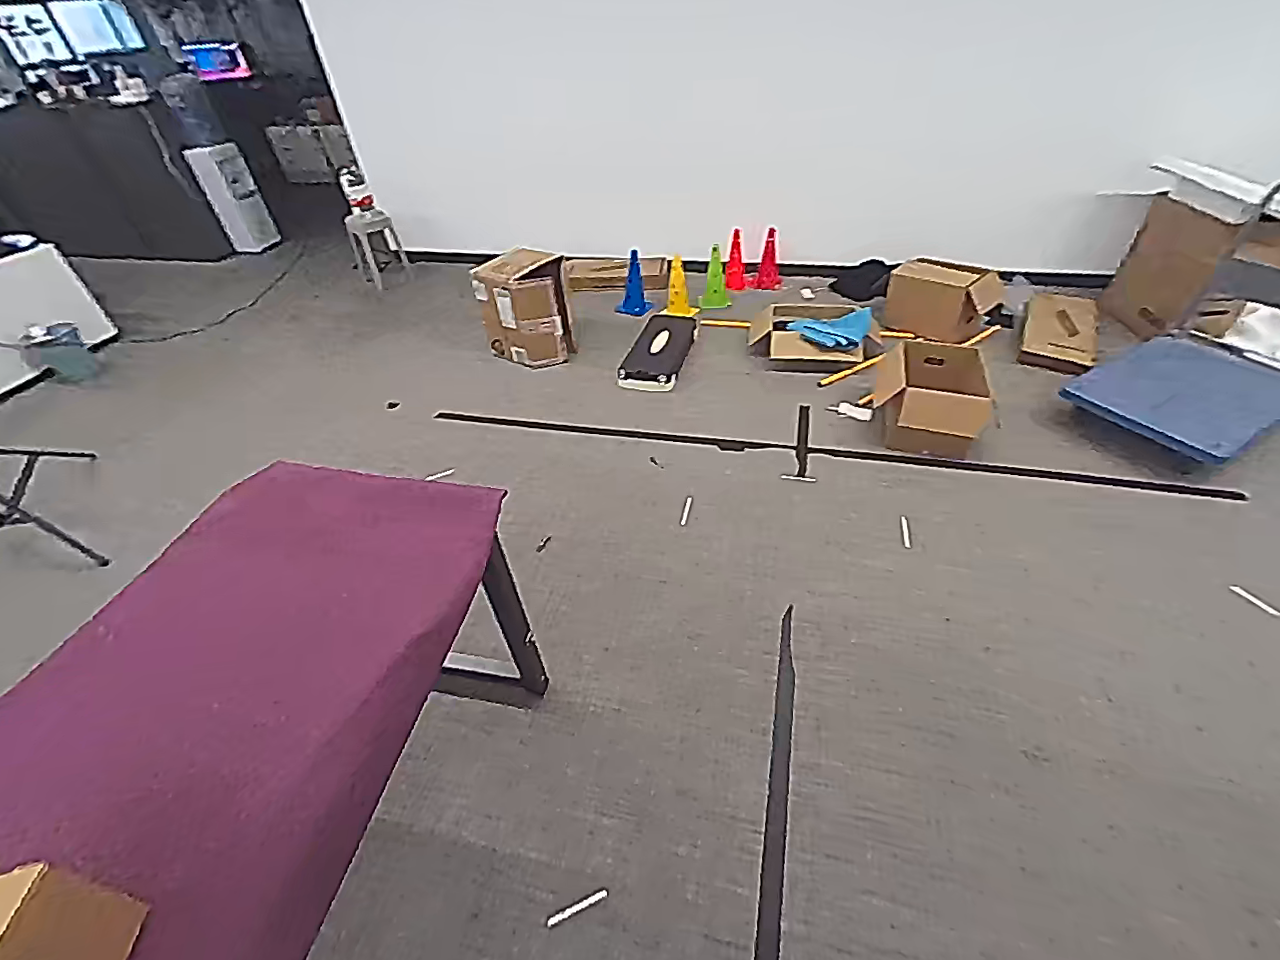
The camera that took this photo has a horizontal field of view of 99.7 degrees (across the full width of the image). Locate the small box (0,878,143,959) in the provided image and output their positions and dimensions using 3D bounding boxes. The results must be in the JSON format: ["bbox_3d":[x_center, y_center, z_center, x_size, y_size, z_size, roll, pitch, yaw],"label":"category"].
[{"bbox_3d":[-0.654,0.527,0.526,0.168,0.176,0.179,-9,40,-5],"label":"small box"}]
